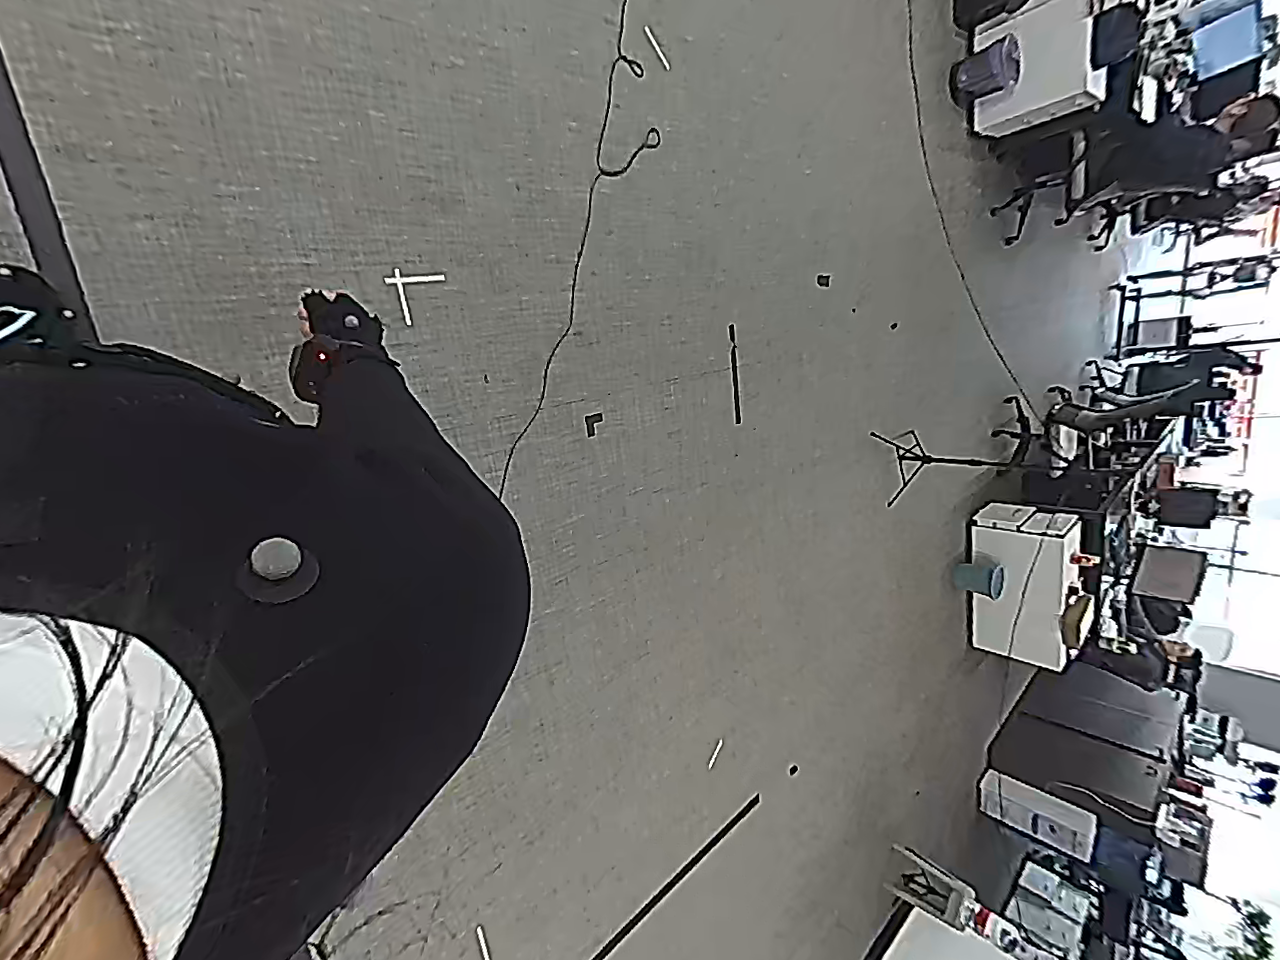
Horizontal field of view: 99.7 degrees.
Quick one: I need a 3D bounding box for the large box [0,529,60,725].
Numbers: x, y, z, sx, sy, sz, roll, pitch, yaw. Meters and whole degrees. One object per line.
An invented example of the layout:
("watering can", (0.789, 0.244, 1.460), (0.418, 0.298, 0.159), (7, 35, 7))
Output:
("large box", (-0.936, 0.124, 0.556), (0.320, 0.408, 0.320), (-33, 149, -34))
